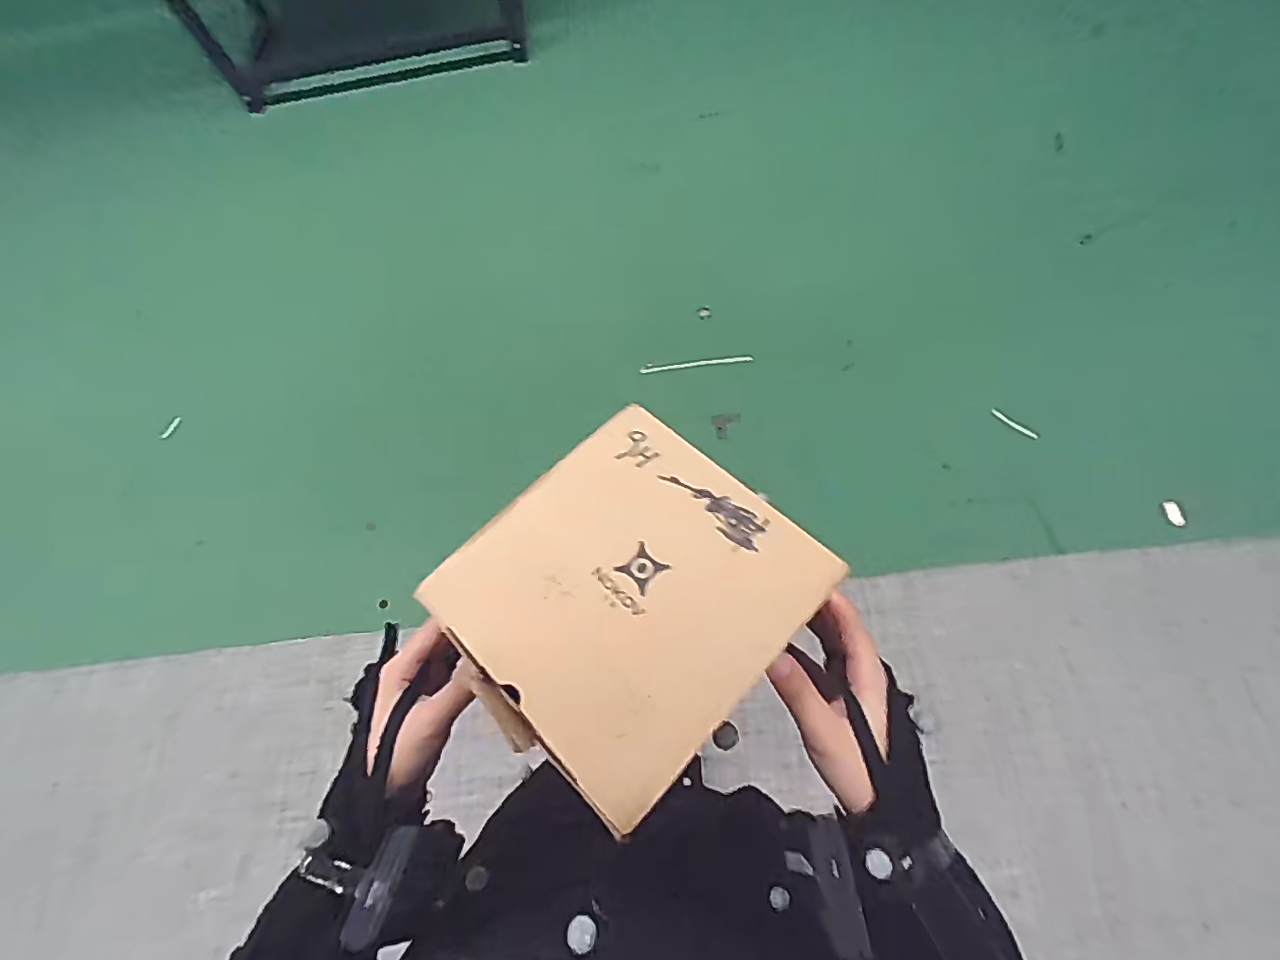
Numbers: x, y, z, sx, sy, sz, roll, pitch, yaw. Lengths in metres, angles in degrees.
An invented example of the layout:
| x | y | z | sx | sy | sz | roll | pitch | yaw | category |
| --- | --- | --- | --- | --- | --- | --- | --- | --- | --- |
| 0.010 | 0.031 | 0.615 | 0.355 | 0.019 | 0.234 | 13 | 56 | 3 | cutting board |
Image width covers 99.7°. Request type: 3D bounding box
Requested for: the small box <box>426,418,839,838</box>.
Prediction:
| x | y | z | sx | sy | sz | roll | pitch | yaw | category |
| --- | --- | --- | --- | --- | --- | --- | --- | --- | --- |
| 0.000 | 0.100 | 0.369 | 0.168 | 0.176 | 0.179 | 40 | 70 | 22 | small box |
